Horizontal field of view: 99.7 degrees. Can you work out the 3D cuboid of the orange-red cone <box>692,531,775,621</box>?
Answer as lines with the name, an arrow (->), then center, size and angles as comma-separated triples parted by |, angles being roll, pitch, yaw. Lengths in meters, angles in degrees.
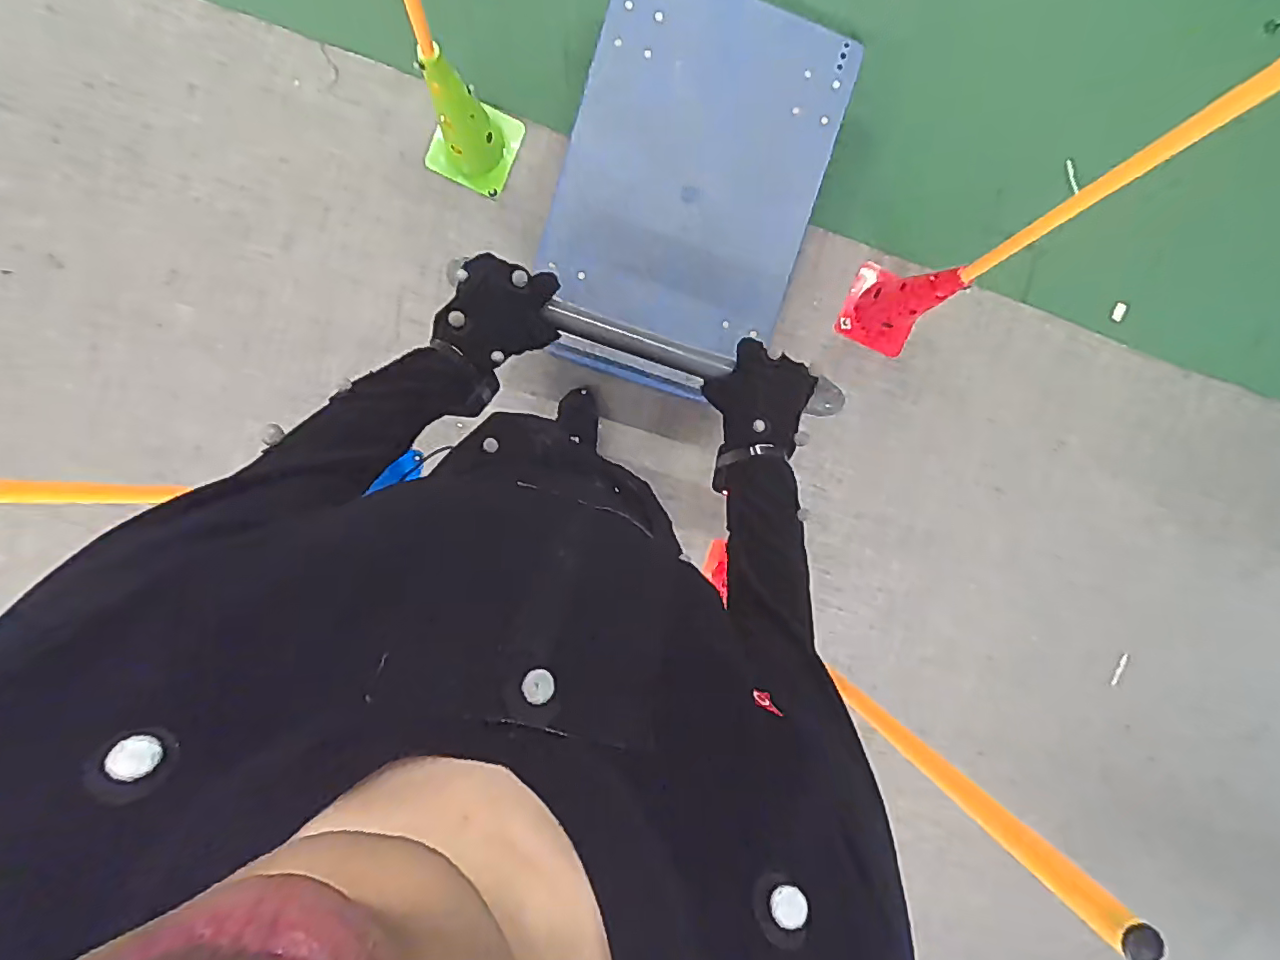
orange-red cone -> 0.268, 0.275, 1.353 | 0.199, 0.360, 0.198 | 18, 95, -3

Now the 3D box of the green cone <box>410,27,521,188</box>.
green cone -> -0.412, -0.842, 1.182 | 0.202, 0.368, 0.200 | 23, 94, -5
